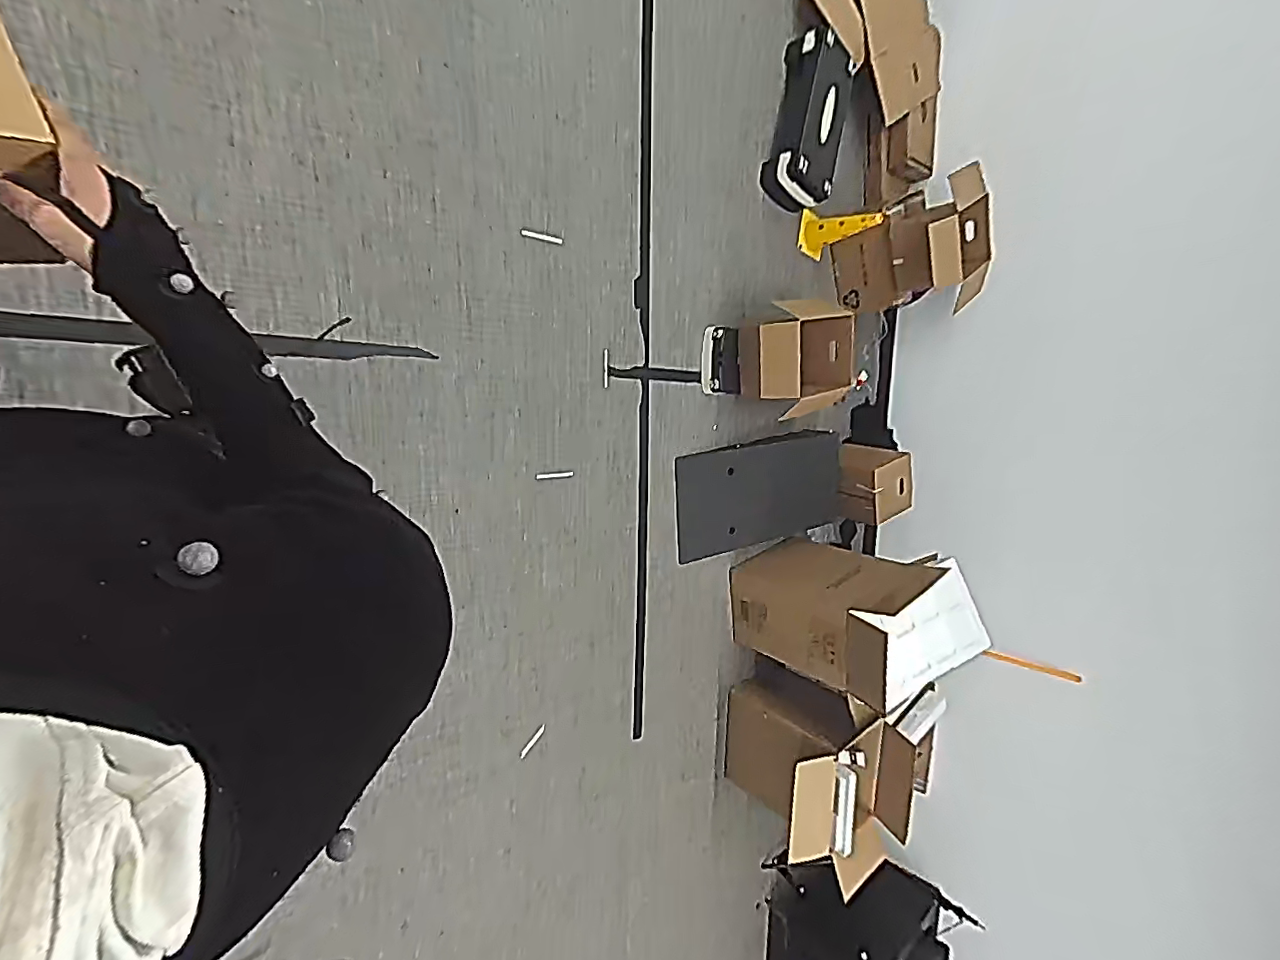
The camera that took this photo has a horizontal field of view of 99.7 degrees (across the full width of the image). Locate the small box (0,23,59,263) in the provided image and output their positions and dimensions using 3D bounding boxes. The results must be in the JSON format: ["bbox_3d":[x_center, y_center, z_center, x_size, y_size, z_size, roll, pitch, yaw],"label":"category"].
[{"bbox_3d":[-0.594,-0.283,0.412,0.179,0.176,0.168,-25,91,-46],"label":"small box"}]
